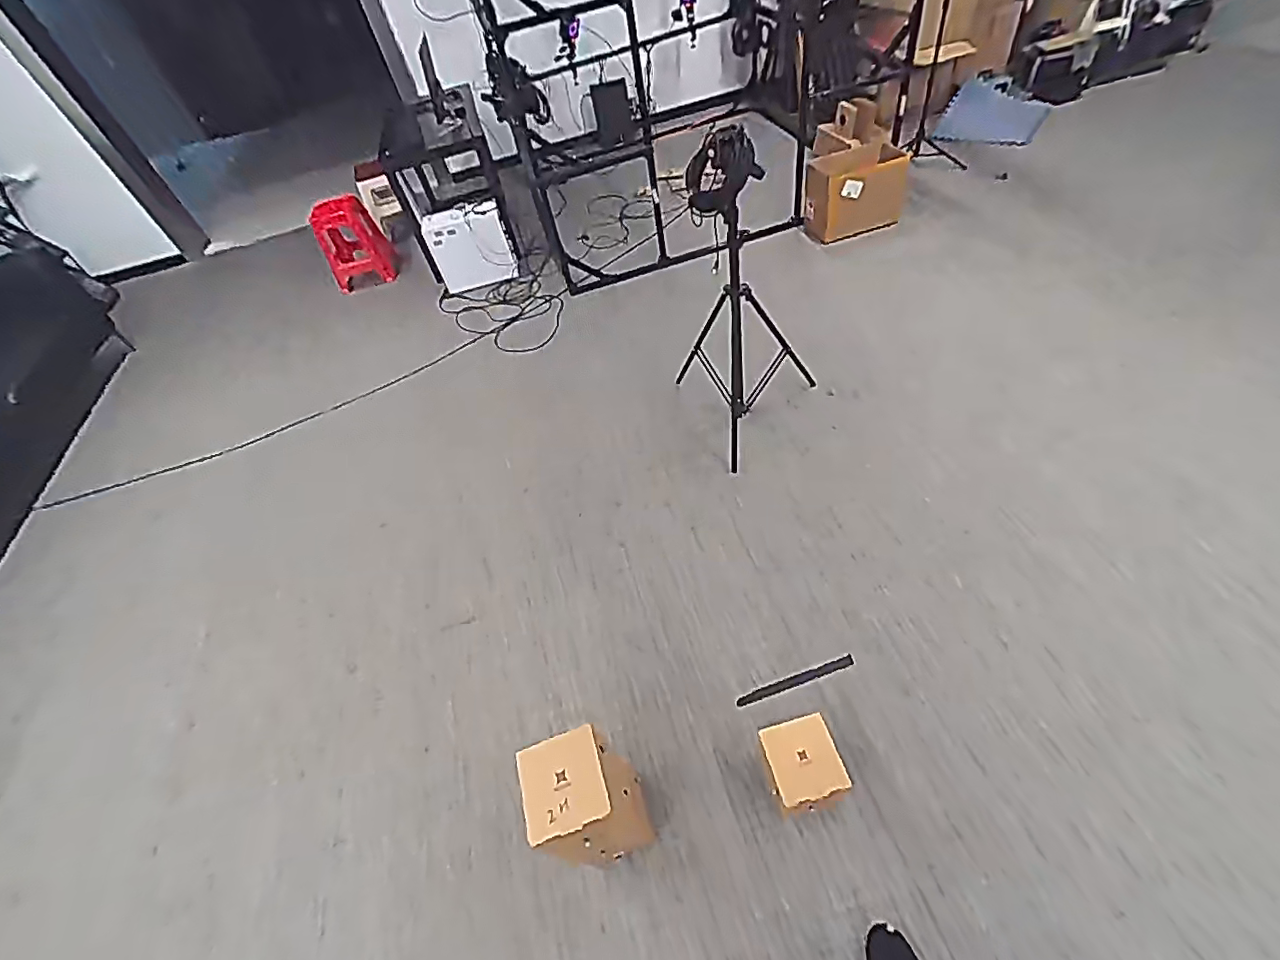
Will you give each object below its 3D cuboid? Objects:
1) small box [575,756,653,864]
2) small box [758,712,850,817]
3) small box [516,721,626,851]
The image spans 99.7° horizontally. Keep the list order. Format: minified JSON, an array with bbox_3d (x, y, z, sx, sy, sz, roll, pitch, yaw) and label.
[{"bbox_3d":[-0.078,0.837,1.367,0.168,0.176,0.179,-20,48,-4],"label":"small box"},{"bbox_3d":[0.402,0.717,1.360,0.168,0.176,0.179,-17,49,-2],"label":"small box"},{"bbox_3d":[-0.140,0.634,1.117,0.168,0.176,0.179,-21,49,-3],"label":"small box"}]
